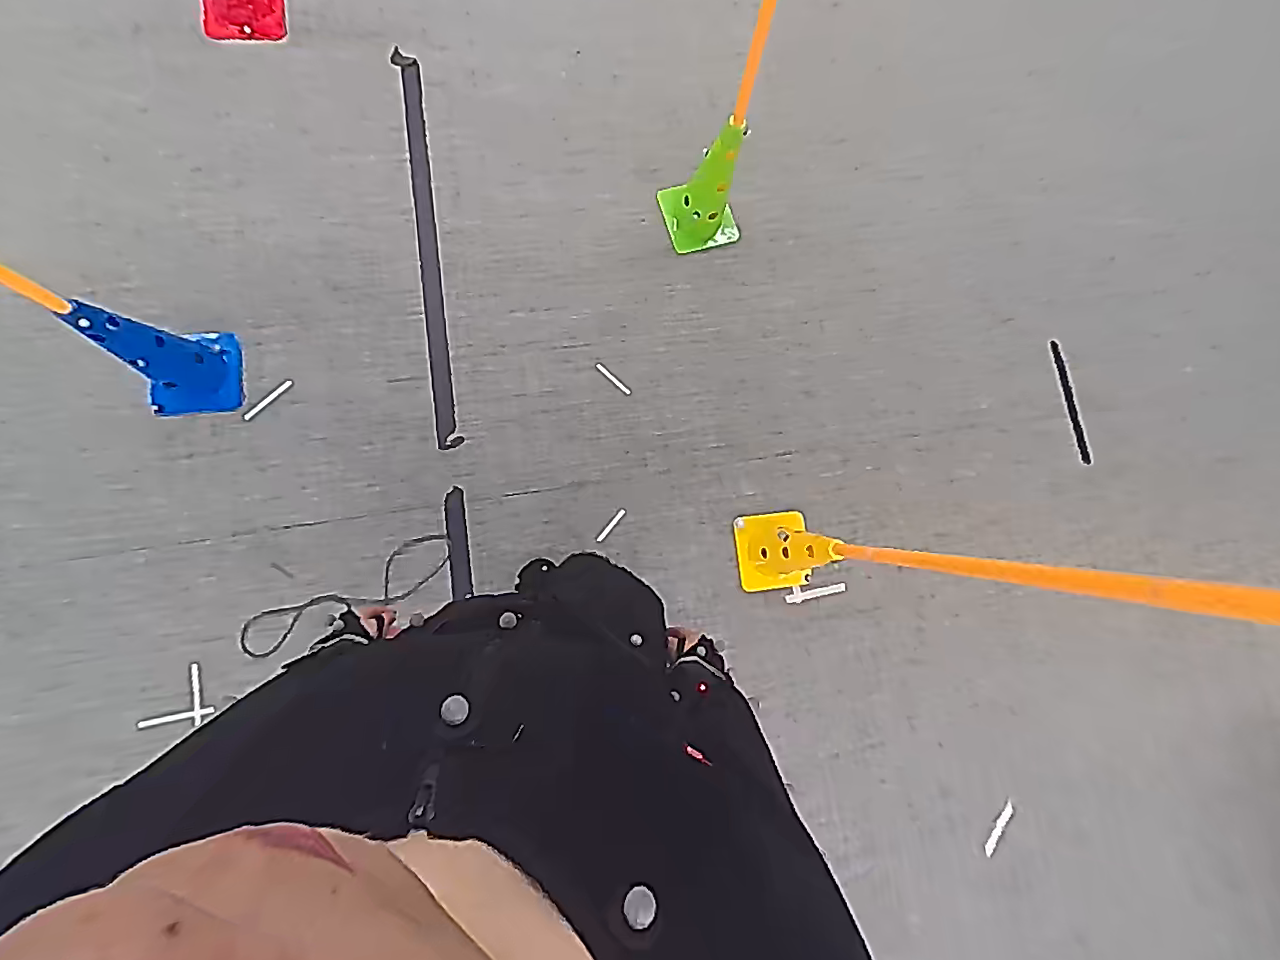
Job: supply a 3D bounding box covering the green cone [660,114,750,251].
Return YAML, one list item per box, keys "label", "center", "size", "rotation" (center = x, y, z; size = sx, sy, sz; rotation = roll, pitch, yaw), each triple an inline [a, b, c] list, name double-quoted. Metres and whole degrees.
- label: "green cone"
  center: [0.196, -0.783, 1.380]
  size: [0.200, 0.368, 0.202]
  rotation: [-18, 87, -10]

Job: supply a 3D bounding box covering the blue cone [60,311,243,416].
- label: "blue cone"
  center: [-1.049, -0.273, 1.151]
  size: [0.193, 0.380, 0.192]
  rotation: [-5, 83, -8]
